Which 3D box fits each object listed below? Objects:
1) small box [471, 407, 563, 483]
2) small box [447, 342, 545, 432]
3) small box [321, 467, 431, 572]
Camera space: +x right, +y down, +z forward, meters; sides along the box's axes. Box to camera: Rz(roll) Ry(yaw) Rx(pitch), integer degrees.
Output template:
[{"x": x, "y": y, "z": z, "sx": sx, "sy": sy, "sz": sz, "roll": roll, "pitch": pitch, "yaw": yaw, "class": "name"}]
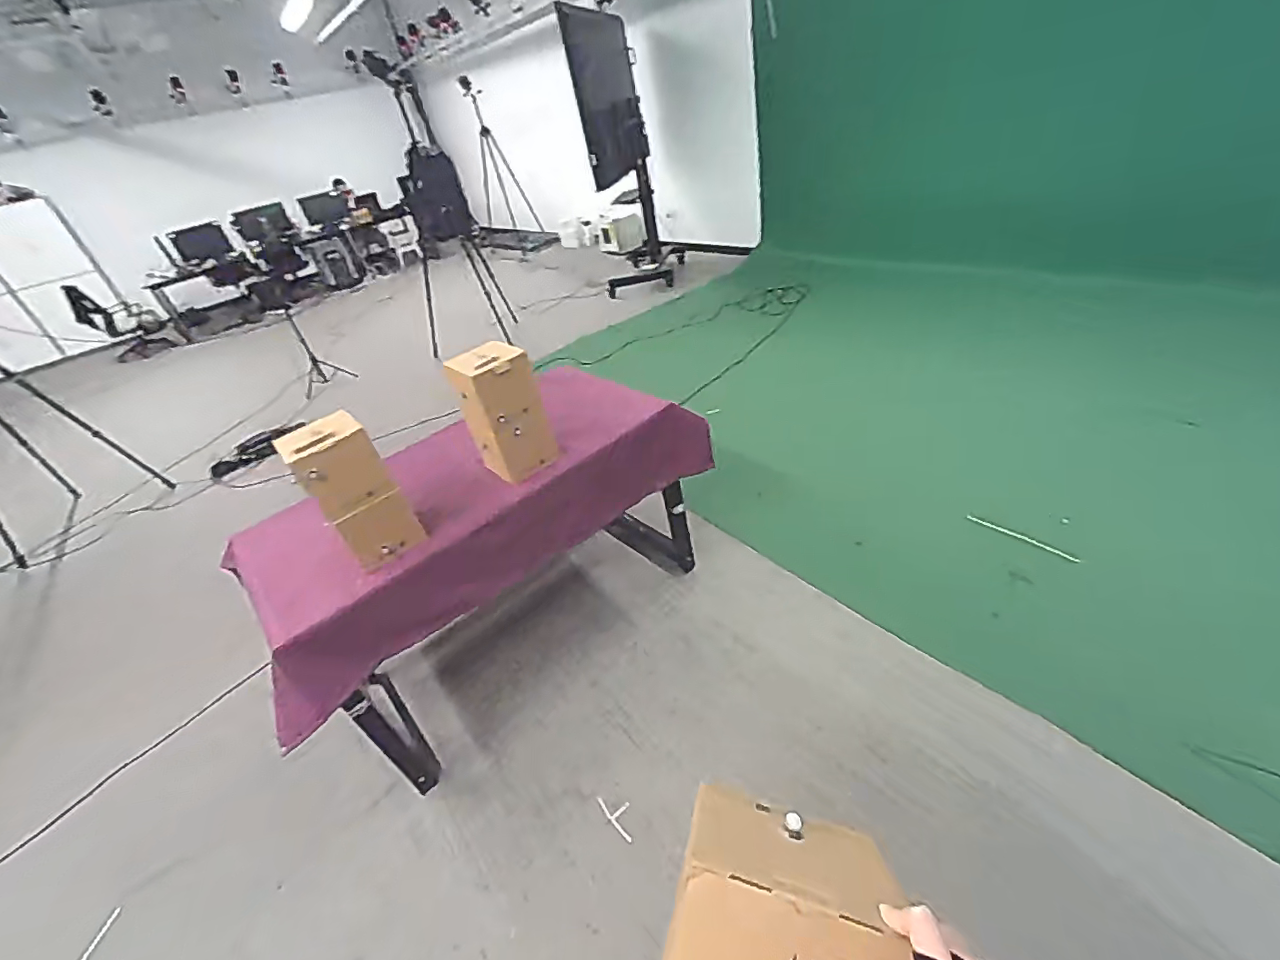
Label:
[{"x": -0.347, "y": -0.116, "z": 1.540, "sx": 0.168, "sy": 0.176, "sz": 0.179, "roll": -36, "pitch": 40, "yaw": -26, "class": "small box"}, {"x": -0.379, "y": -0.248, "z": 1.446, "sx": 0.168, "sy": 0.176, "sz": 0.179, "roll": -35, "pitch": 40, "yaw": -27, "class": "small box"}, {"x": -0.655, "y": 0.098, "z": 1.349, "sx": 0.168, "sy": 0.176, "sz": 0.179, "roll": -34, "pitch": 41, "yaw": -26, "class": "small box"}]
